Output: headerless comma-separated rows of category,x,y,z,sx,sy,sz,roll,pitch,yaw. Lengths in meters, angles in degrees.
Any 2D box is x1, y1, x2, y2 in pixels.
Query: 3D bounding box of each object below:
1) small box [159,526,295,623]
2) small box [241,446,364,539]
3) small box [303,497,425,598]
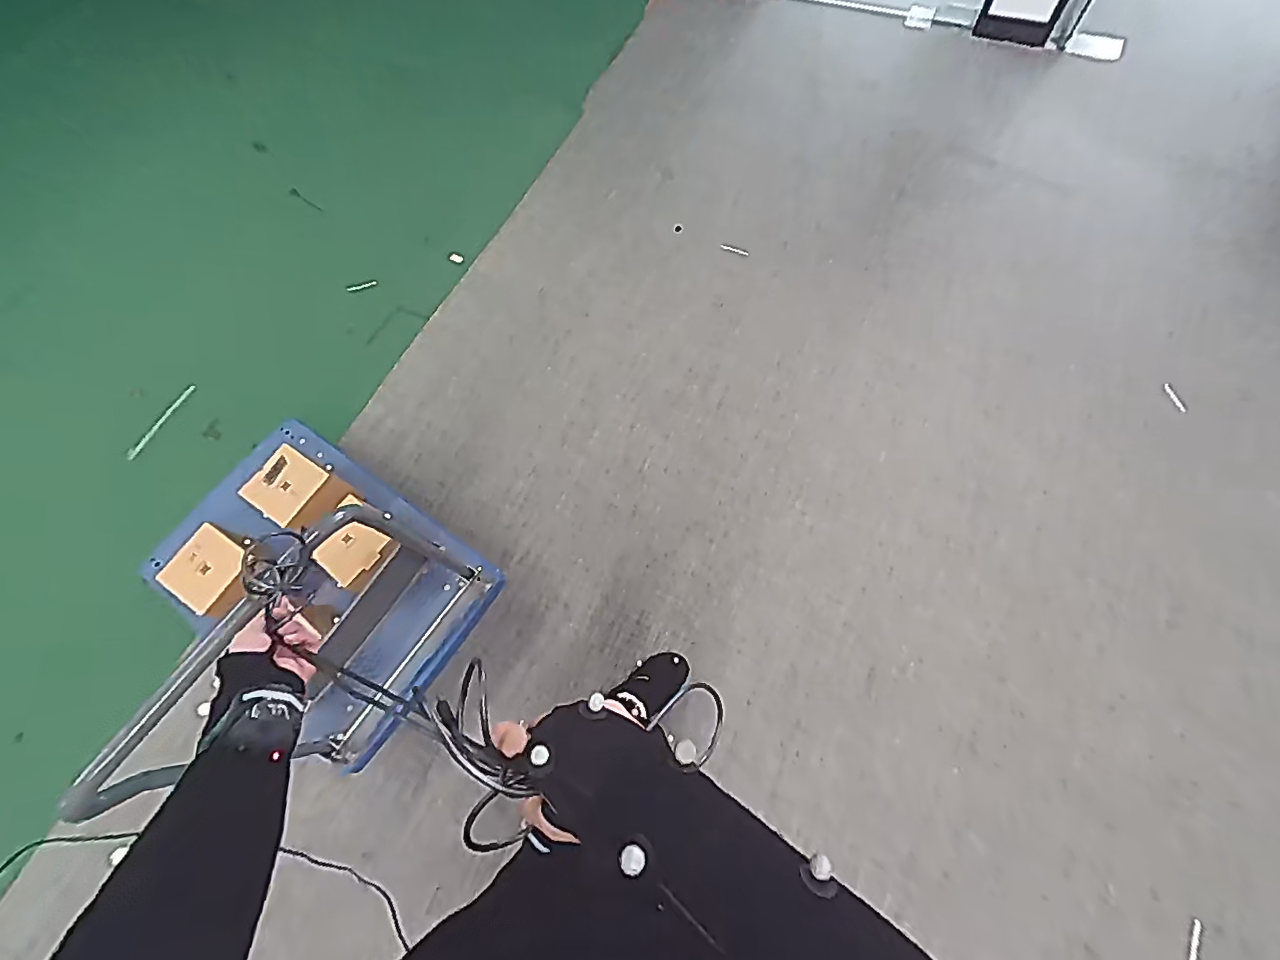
small box,-1.028,0.244,1.363,0.179,0.176,0.168,29,73,15
small box,-0.880,0.045,1.427,0.179,0.176,0.168,31,75,15
small box,-0.684,0.177,1.359,0.179,0.176,0.168,34,75,16
